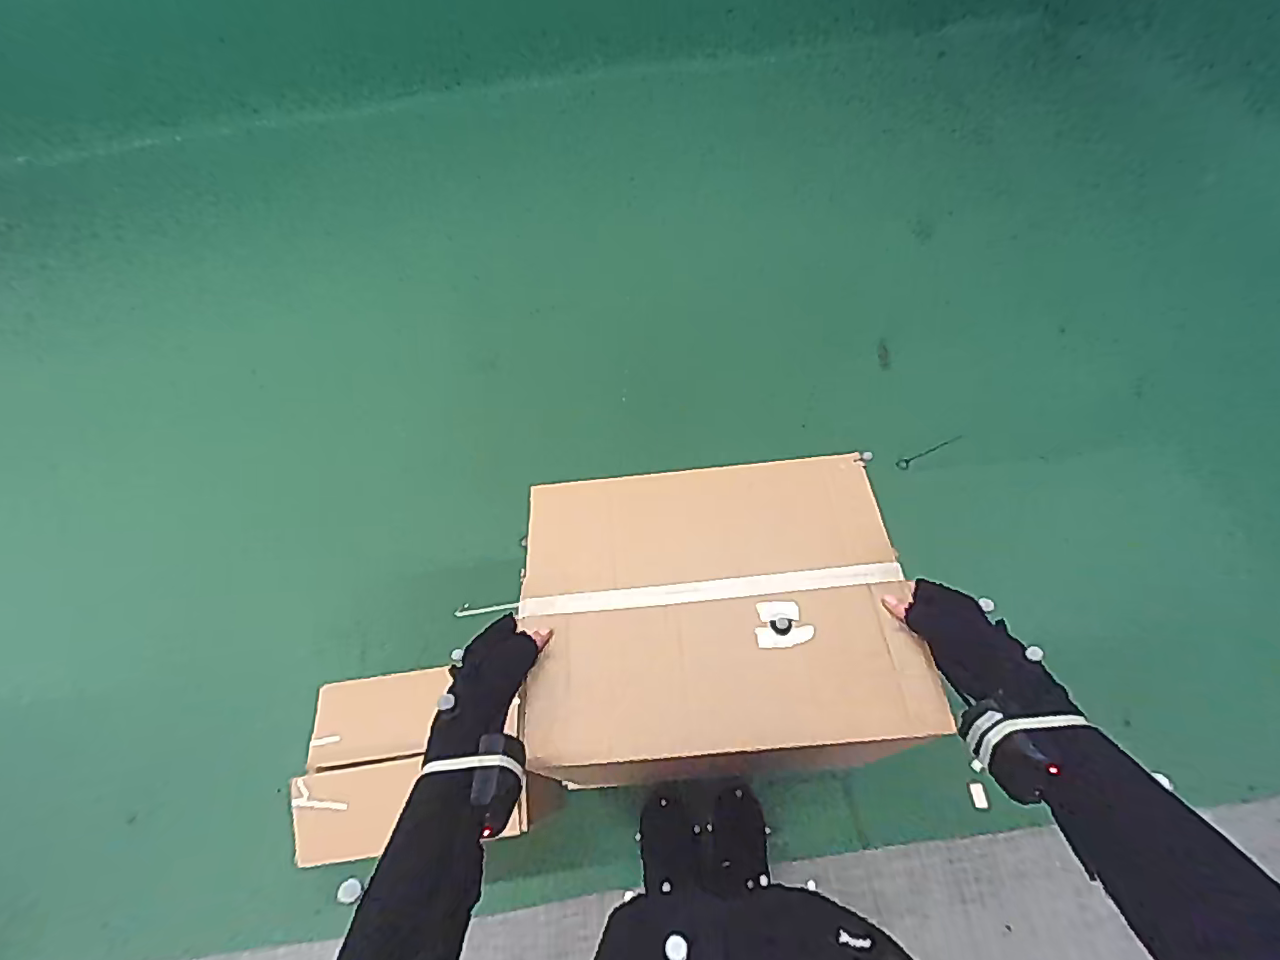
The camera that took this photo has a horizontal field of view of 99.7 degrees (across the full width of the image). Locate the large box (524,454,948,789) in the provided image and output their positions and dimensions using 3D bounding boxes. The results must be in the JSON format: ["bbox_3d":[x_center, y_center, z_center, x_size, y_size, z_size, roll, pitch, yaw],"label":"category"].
[{"bbox_3d":[0.085,0.197,0.702,0.408,0.320,0.320,-6,58,1],"label":"large box"}]
